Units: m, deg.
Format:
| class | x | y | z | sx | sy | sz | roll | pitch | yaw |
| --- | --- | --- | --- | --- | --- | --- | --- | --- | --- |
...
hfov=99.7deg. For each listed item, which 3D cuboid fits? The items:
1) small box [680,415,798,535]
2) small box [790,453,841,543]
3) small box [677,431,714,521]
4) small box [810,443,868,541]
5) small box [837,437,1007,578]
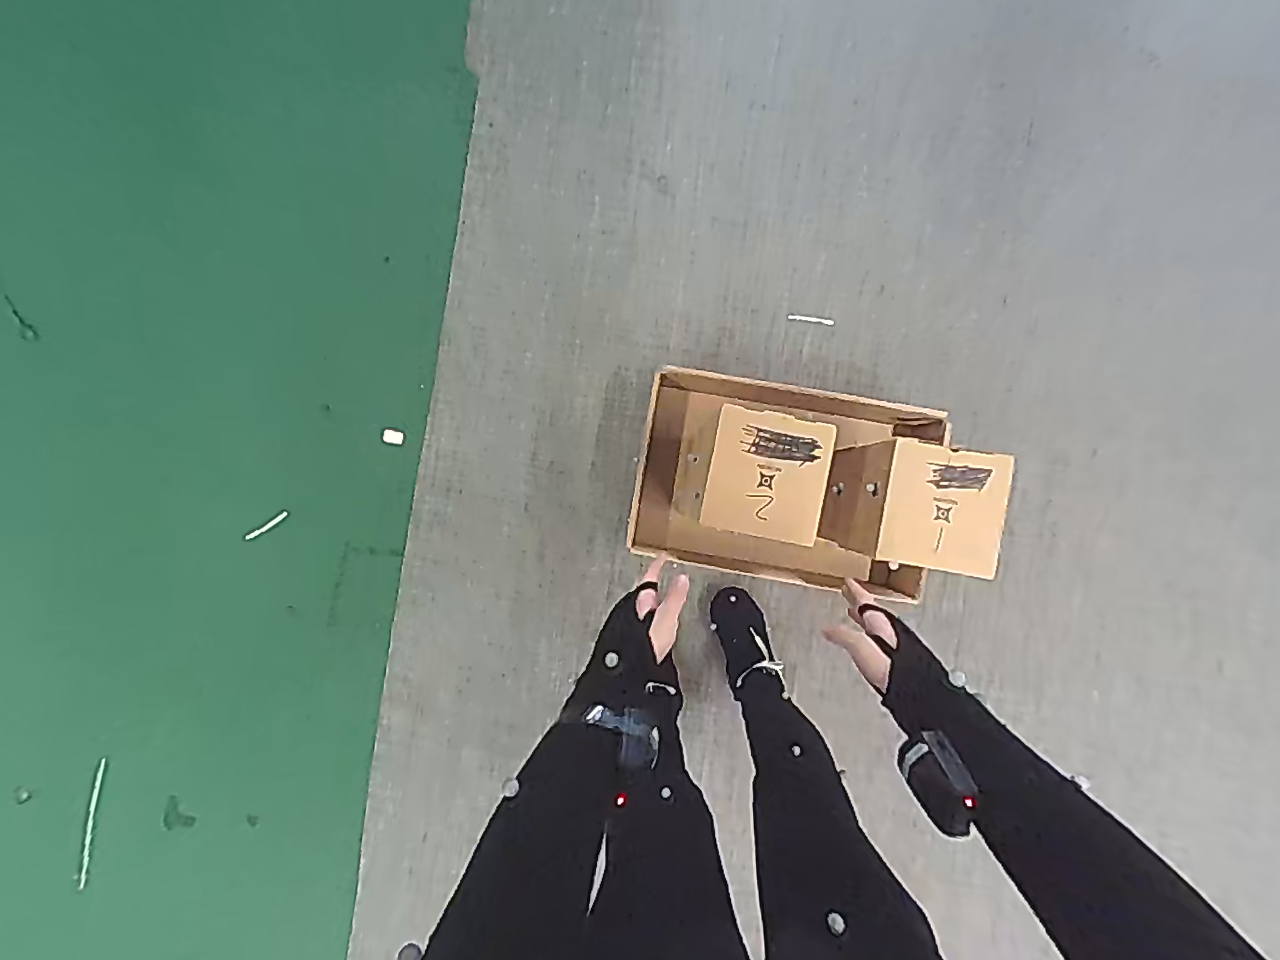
| class | x | y | z | sx | sy | sz | roll | pitch | yaw |
| --- | --- | --- | --- | --- | --- | --- | --- | --- | --- |
| small box | 0.173 | -0.007 | 1.004 | 0.168 | 0.176 | 0.179 | 14 | 89 | 1 |
| small box | 0.434 | 0.043 | 1.170 | 0.168 | 0.176 | 0.179 | 9 | 89 | 1 |
| small box | 0.176 | -0.002 | 1.168 | 0.168 | 0.176 | 0.179 | 9 | 90 | -2 |
| small box | 0.431 | 0.037 | 1.006 | 0.168 | 0.176 | 0.179 | 11 | 90 | 2 |
| small box | 0.424 | 0.039 | 0.842 | 0.168 | 0.176 | 0.179 | 10 | 90 | 2 |
